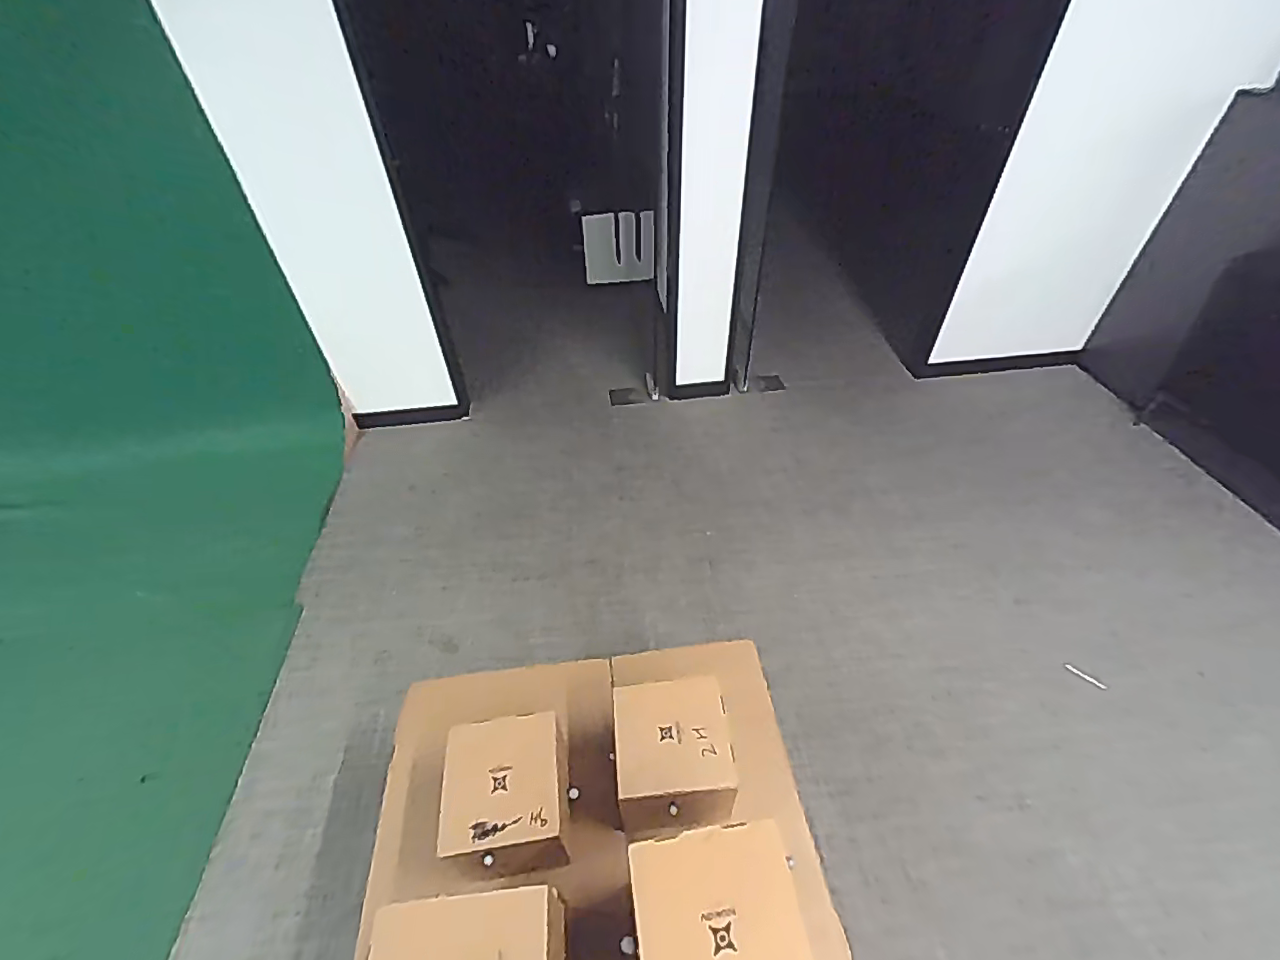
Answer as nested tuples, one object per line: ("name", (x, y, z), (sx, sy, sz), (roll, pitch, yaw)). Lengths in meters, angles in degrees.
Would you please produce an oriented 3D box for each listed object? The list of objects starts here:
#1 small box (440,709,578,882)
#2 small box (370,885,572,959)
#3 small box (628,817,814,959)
("small box", (-0.192, 0.487, 0.836), (0.168, 0.176, 0.179), (-9, 43, -3))
("small box", (-0.168, 0.537, 0.553), (0.179, 0.176, 0.168), (-5, 46, -3))
("small box", (0.084, 0.495, 0.583), (0.168, 0.176, 0.179), (-8, 44, -4))
